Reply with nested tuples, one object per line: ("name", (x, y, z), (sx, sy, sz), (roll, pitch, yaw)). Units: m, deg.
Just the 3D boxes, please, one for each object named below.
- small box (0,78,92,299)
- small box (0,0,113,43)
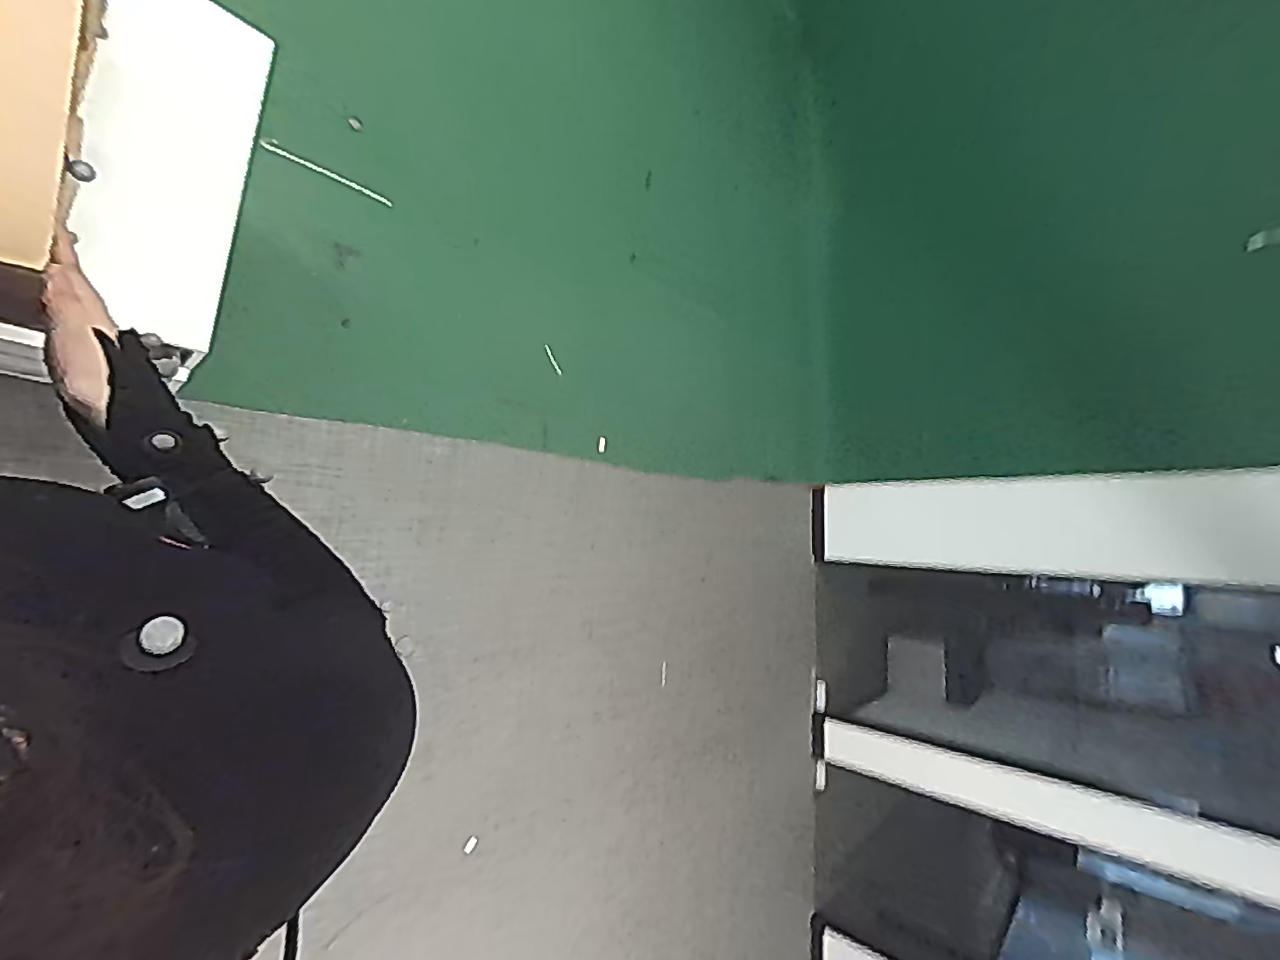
("small box", (-0.696, -0.305, 0.539), (0.179, 0.176, 0.168), (18, 74, -46))
("small box", (-0.560, -0.541, 0.461), (0.179, 0.176, 0.168), (19, 74, -46))
